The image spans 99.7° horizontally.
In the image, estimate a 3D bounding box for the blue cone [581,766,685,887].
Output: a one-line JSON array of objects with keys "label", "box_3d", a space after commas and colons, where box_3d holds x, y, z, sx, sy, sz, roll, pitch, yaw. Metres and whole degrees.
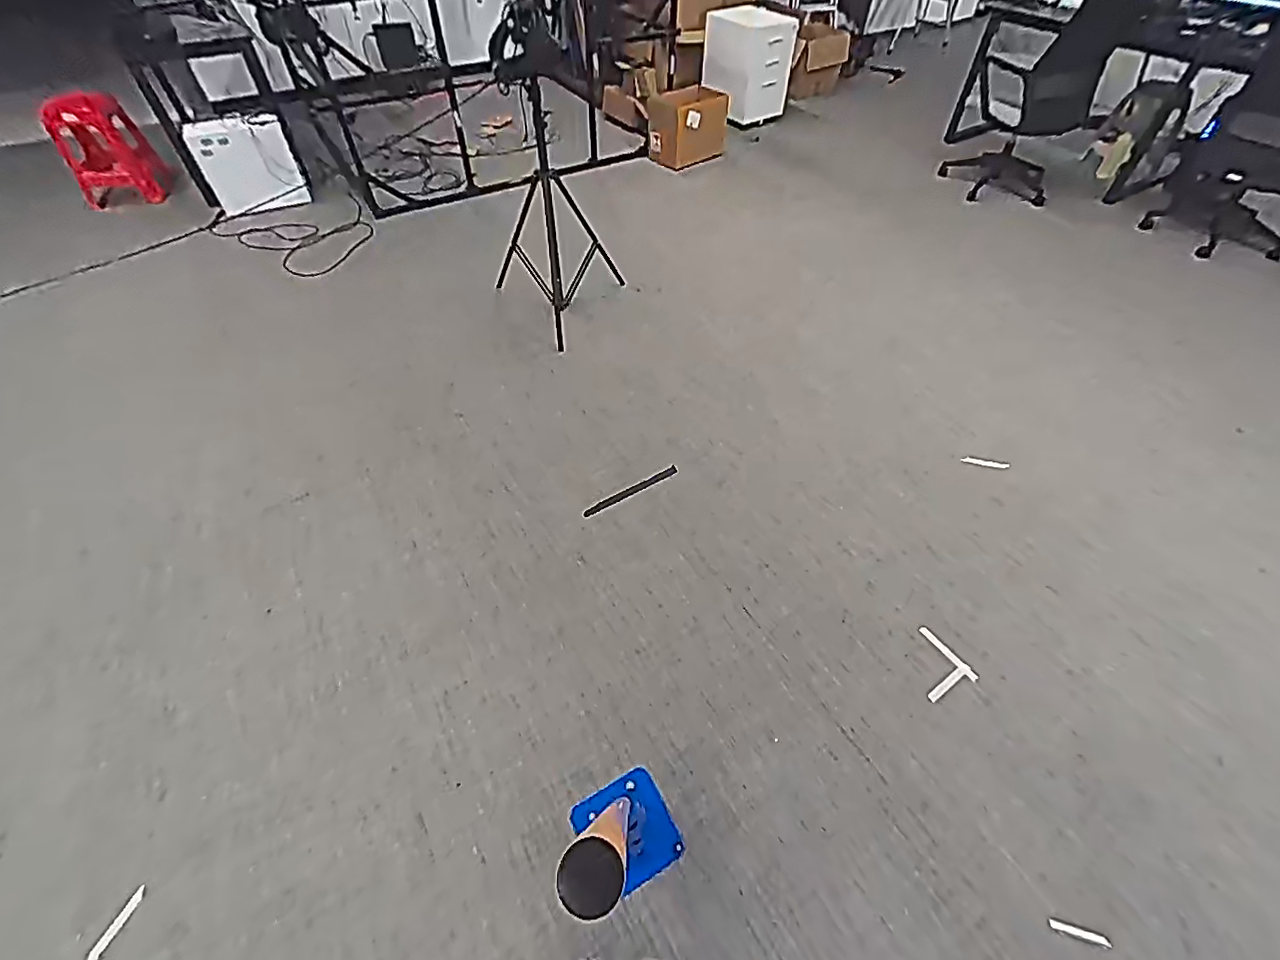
[{"label": "blue cone", "box_3d": [-0.019, 0.660, 1.073, 0.192, 0.380, 0.193, -22, 54, -18]}]
